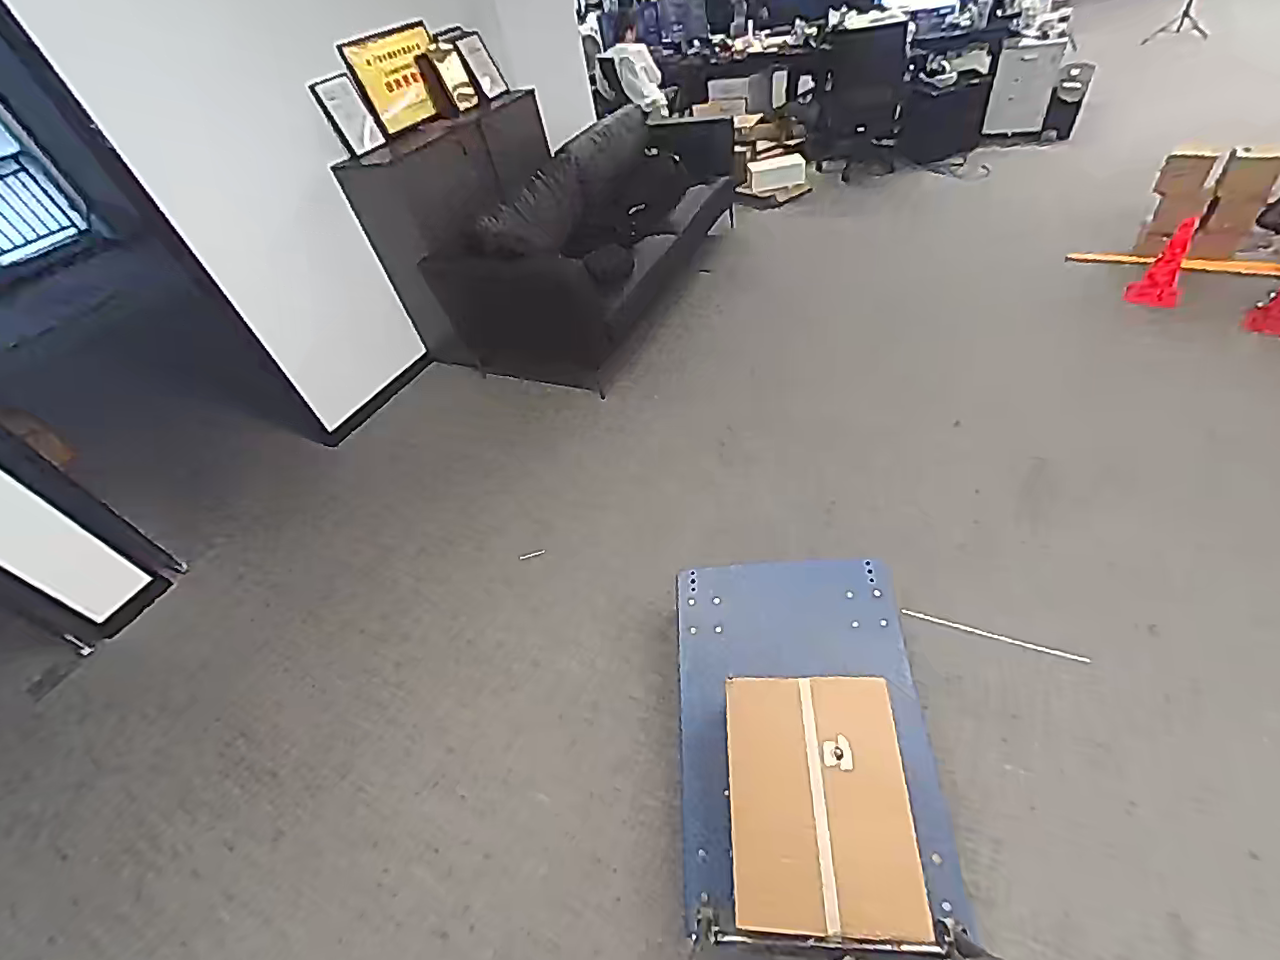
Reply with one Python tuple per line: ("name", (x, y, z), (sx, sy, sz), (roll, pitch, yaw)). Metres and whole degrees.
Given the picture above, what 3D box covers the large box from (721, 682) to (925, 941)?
("large box", (0.338, 0.658, 1.109), (0.320, 0.320, 0.408), (-3, 57, 9))
